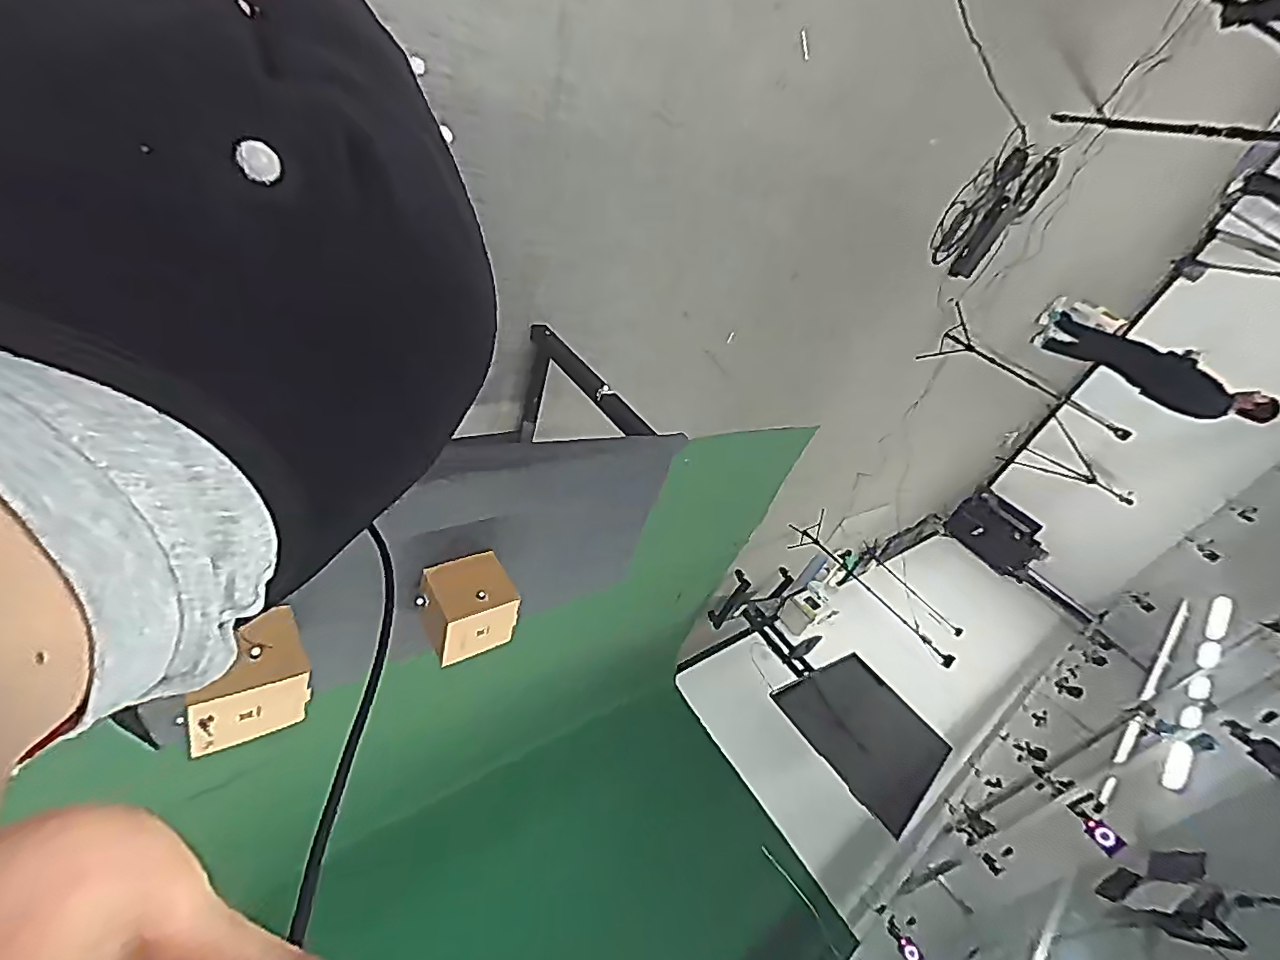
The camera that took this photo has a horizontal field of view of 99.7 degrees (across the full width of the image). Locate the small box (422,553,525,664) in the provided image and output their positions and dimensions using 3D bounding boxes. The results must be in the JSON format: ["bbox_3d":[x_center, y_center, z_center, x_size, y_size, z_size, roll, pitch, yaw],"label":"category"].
[{"bbox_3d":[-0.402,0.299,1.295,0.179,0.176,0.168,-12,136,-37],"label":"small box"}]

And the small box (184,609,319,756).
[{"bbox_3d":[-0.730,0.368,1.016,0.179,0.176,0.168,-8,134,-43],"label":"small box"}]
